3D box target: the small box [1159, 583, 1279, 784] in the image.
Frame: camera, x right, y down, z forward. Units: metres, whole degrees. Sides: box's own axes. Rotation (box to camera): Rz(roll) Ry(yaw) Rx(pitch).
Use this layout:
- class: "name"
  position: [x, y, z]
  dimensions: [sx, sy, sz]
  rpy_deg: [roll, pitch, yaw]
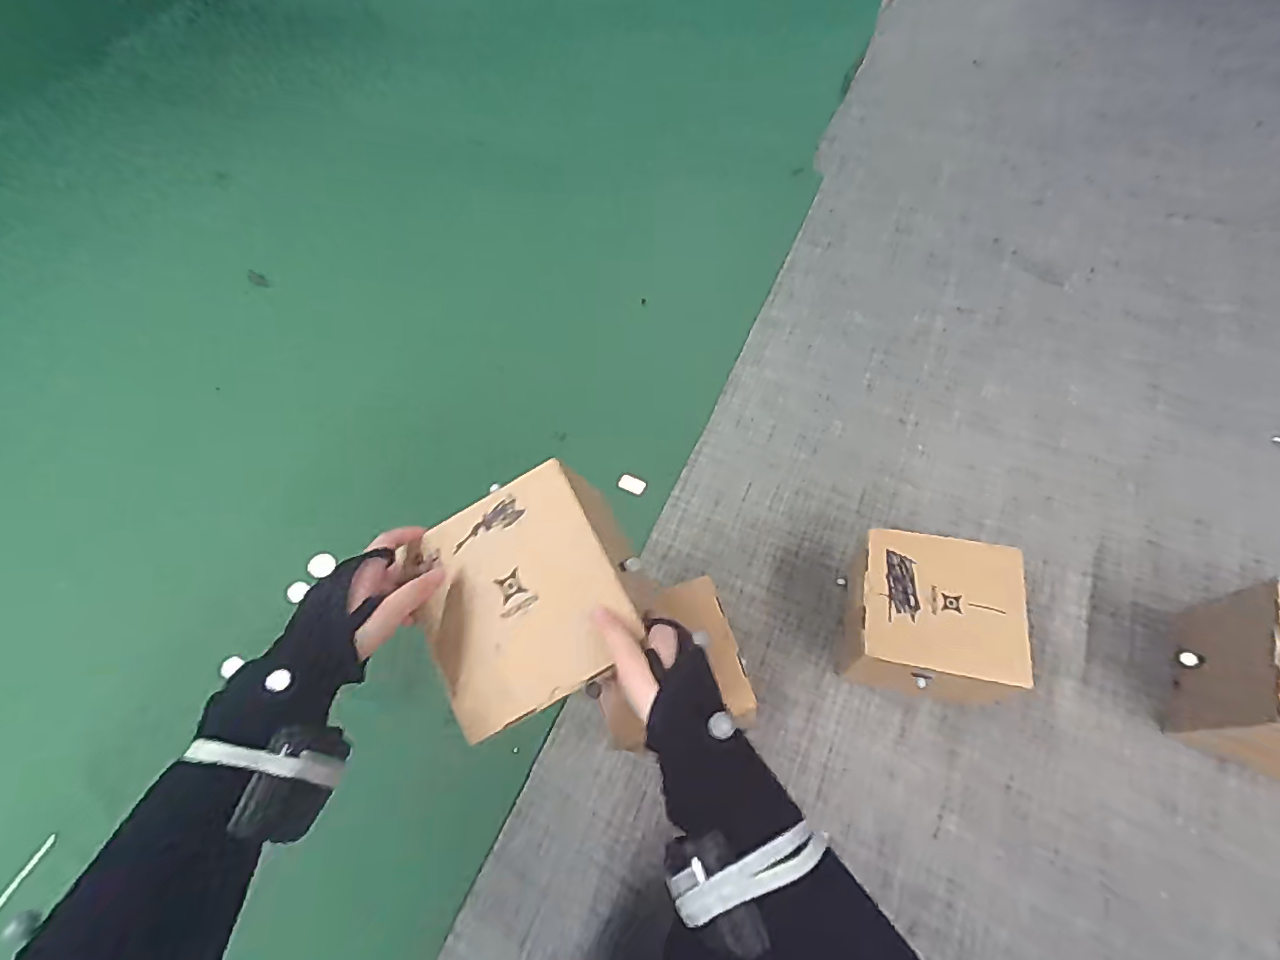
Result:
- class: "small box"
  position: [0.744, 0.241, 0.601]
  dimensions: [0.179, 0.176, 0.168]
  rpy_deg: [20, 66, 20]

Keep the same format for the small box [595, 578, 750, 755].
- class: "small box"
  position: [0.039, 0.257, 0.725]
  dimensions: [0.179, 0.176, 0.168]
  rpy_deg: [-18, 59, 0]

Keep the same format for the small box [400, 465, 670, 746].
- class: "small box"
  position: [-0.084, 0.112, 0.515]
  dimensions: [0.168, 0.176, 0.179]
  rpy_deg: [-29, 75, 2]
